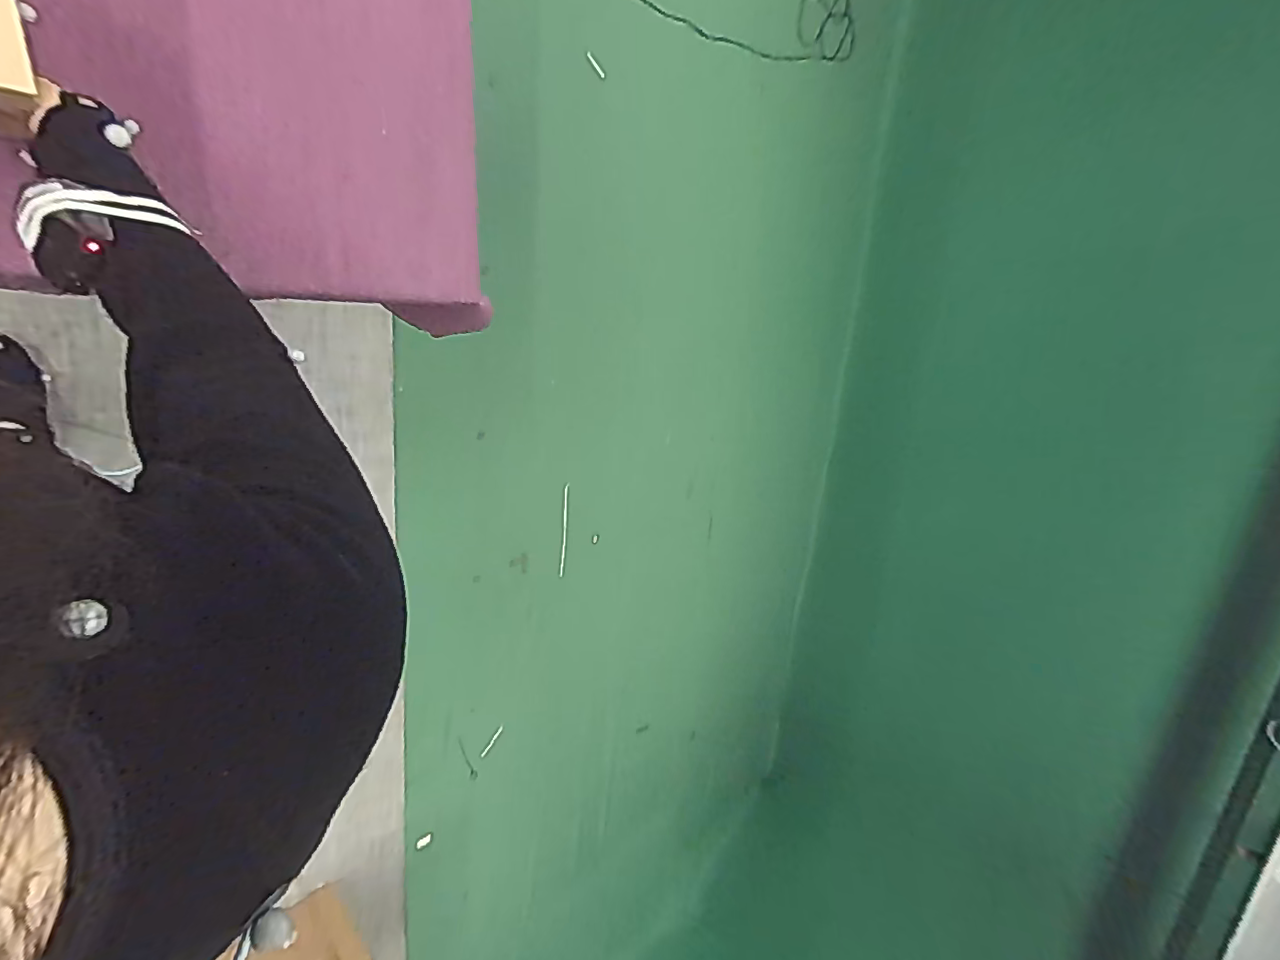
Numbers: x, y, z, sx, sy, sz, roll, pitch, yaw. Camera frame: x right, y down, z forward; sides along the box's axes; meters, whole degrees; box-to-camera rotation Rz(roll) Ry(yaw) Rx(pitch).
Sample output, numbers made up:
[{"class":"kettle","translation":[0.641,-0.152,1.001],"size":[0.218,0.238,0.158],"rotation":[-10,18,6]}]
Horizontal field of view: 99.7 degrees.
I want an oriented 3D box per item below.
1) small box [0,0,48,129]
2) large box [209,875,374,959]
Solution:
[{"class":"small box","translation":[-0.532,-0.348,0.347],"size":[0.179,0.176,0.168],"rotation":[-16,114,-45]},{"class":"large box","translation":[-0.973,1.472,1.541],"size":[0.320,0.320,0.408],"rotation":[-13,115,-47]}]
